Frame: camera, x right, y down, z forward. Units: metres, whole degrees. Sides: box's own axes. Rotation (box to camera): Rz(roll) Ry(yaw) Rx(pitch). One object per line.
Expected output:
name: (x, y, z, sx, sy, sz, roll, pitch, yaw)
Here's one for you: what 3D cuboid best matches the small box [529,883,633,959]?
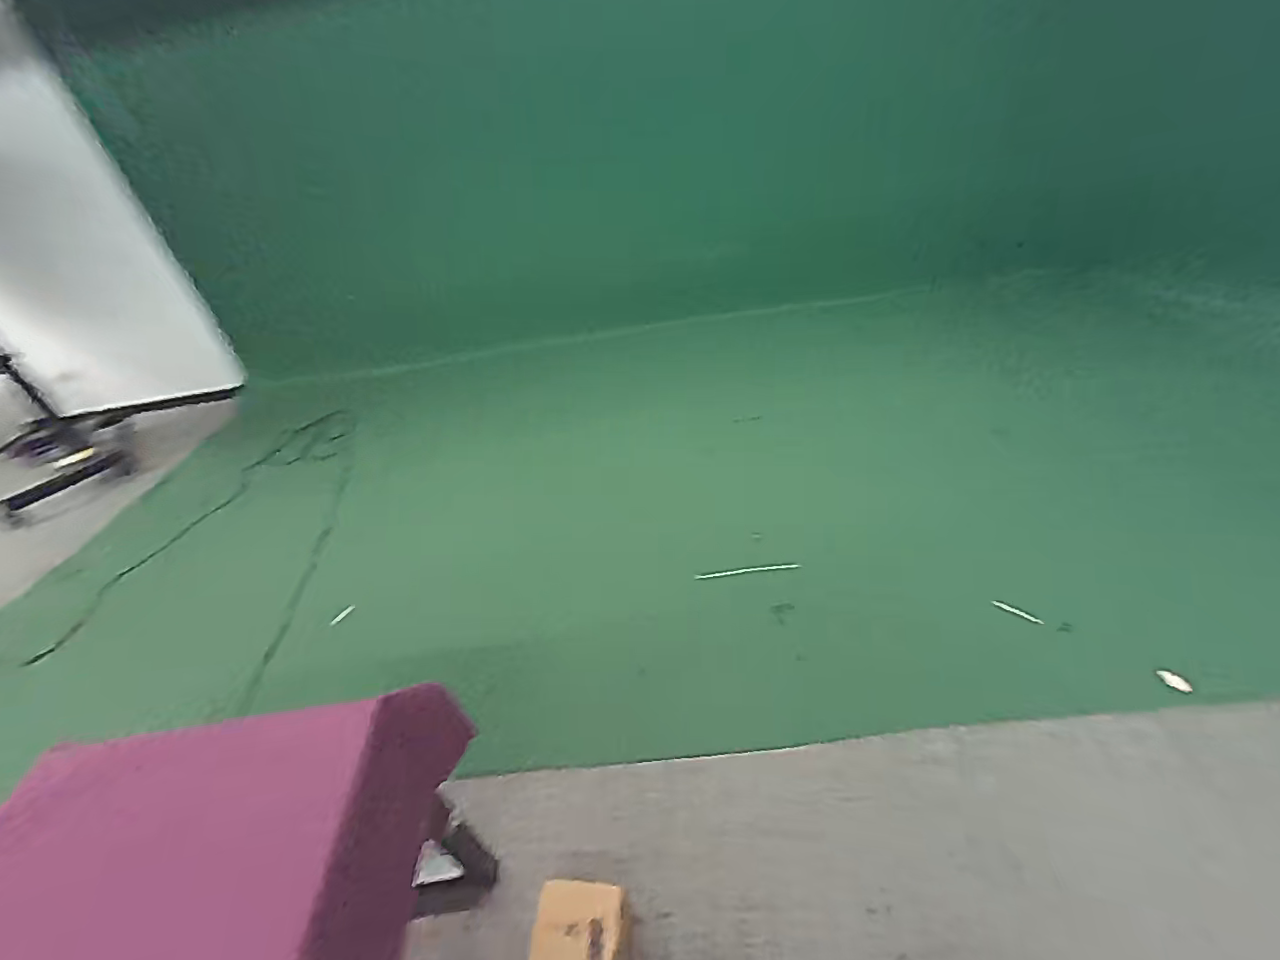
small box: (-0.118, 0.986, 1.144, 0.179, 0.176, 0.168, -4, 36, 11)
